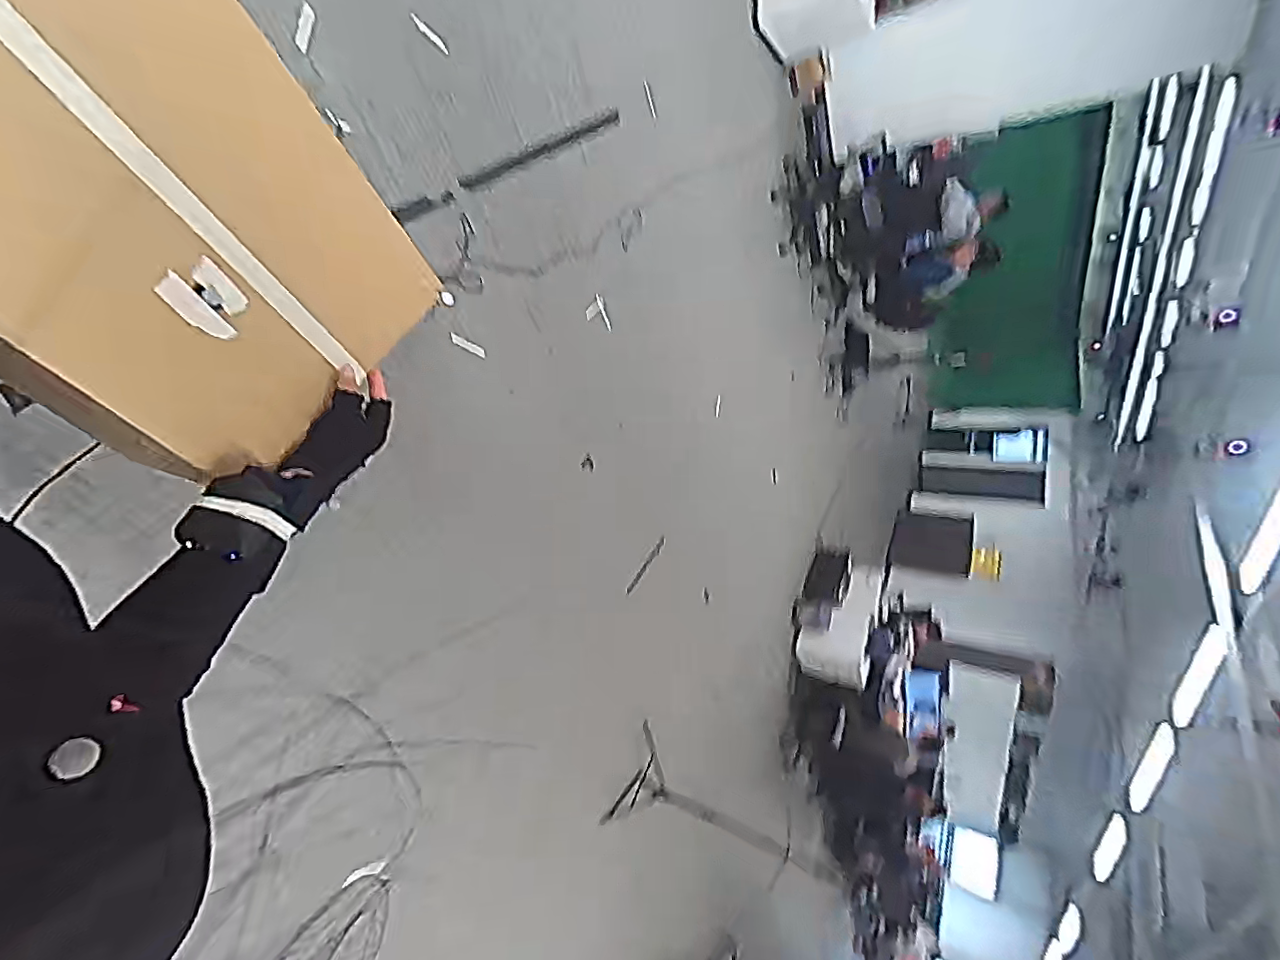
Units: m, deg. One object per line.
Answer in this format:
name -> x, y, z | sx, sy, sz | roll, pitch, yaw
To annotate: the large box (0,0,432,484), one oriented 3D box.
large box -> -0.504, -0.249, 0.513 | 0.320, 0.320, 0.408 | -62, 144, -27
